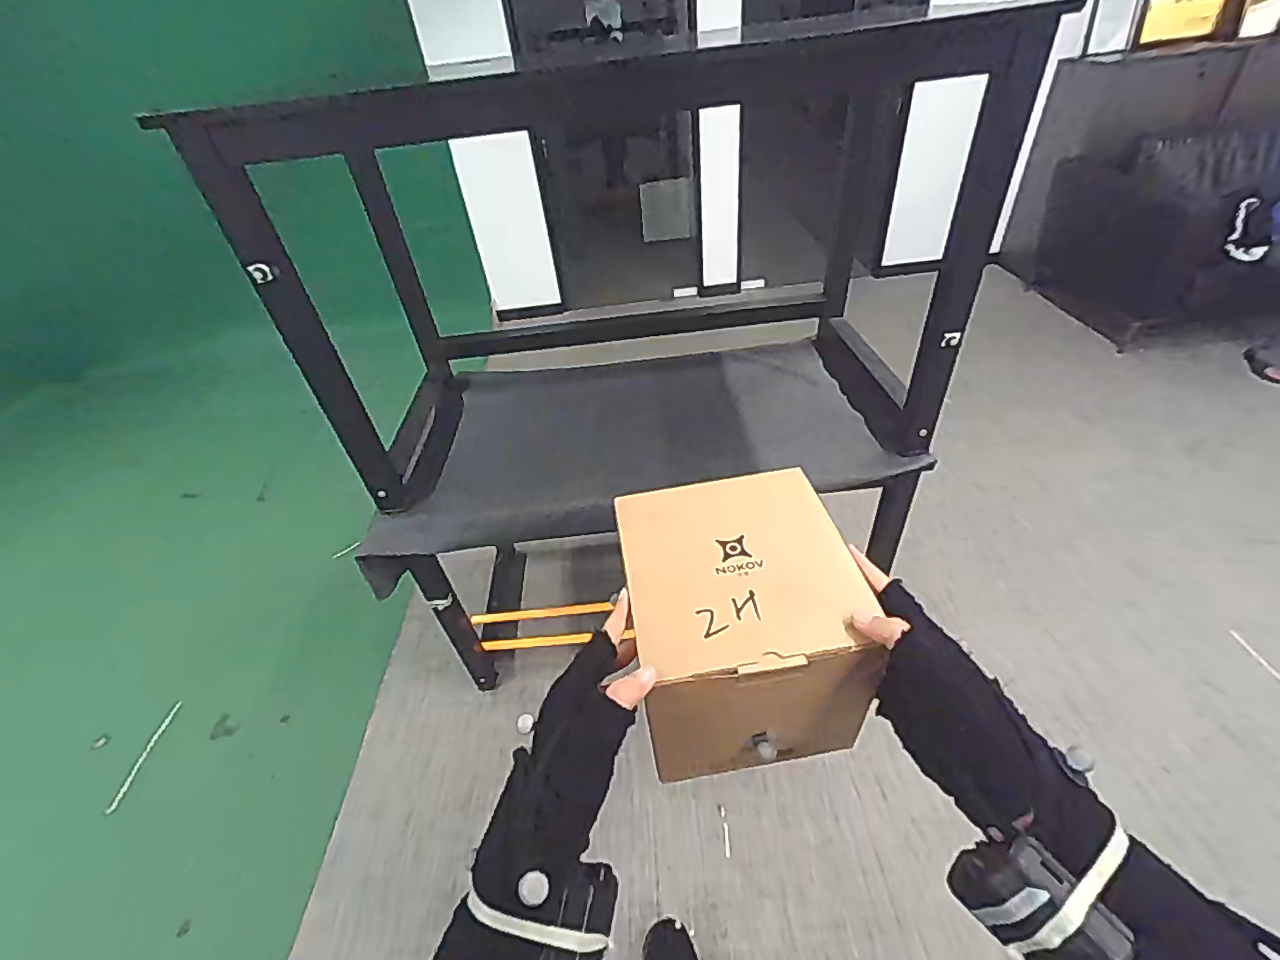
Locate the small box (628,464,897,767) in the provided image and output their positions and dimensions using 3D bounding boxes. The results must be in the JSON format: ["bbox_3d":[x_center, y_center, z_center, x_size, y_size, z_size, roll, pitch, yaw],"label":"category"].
[{"bbox_3d":[0.084,0.112,0.464,0.168,0.176,0.179,-9,40,-2],"label":"small box"}]
